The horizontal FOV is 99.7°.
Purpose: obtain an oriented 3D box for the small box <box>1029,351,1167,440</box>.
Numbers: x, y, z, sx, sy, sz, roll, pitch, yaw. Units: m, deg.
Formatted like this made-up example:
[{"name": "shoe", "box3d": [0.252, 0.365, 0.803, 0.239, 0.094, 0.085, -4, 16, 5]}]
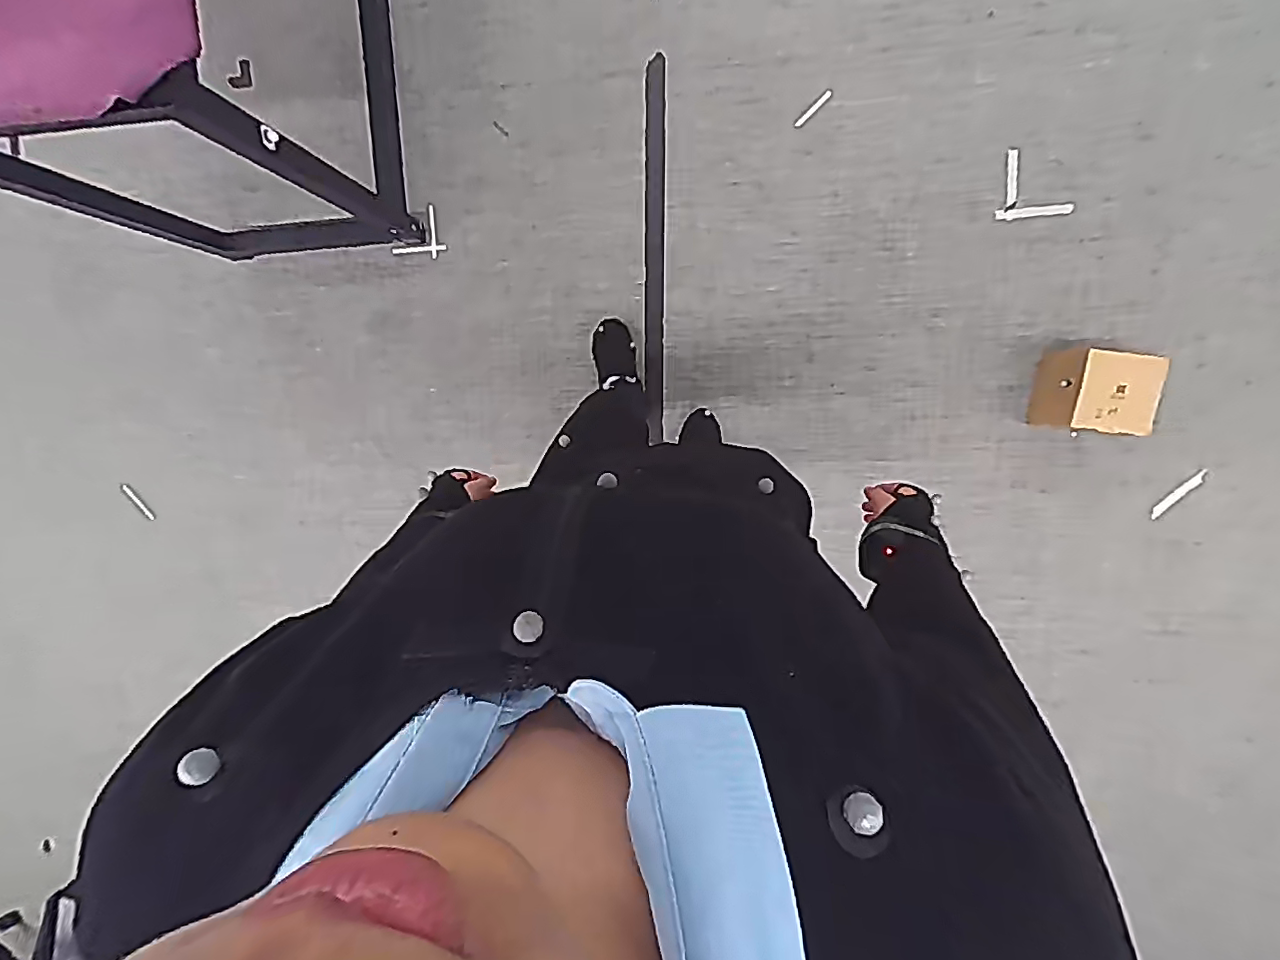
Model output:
[{"name": "small box", "box3d": [1.058, -0.196, 1.268, 0.168, 0.176, 0.179, 9, 99, 6]}]
